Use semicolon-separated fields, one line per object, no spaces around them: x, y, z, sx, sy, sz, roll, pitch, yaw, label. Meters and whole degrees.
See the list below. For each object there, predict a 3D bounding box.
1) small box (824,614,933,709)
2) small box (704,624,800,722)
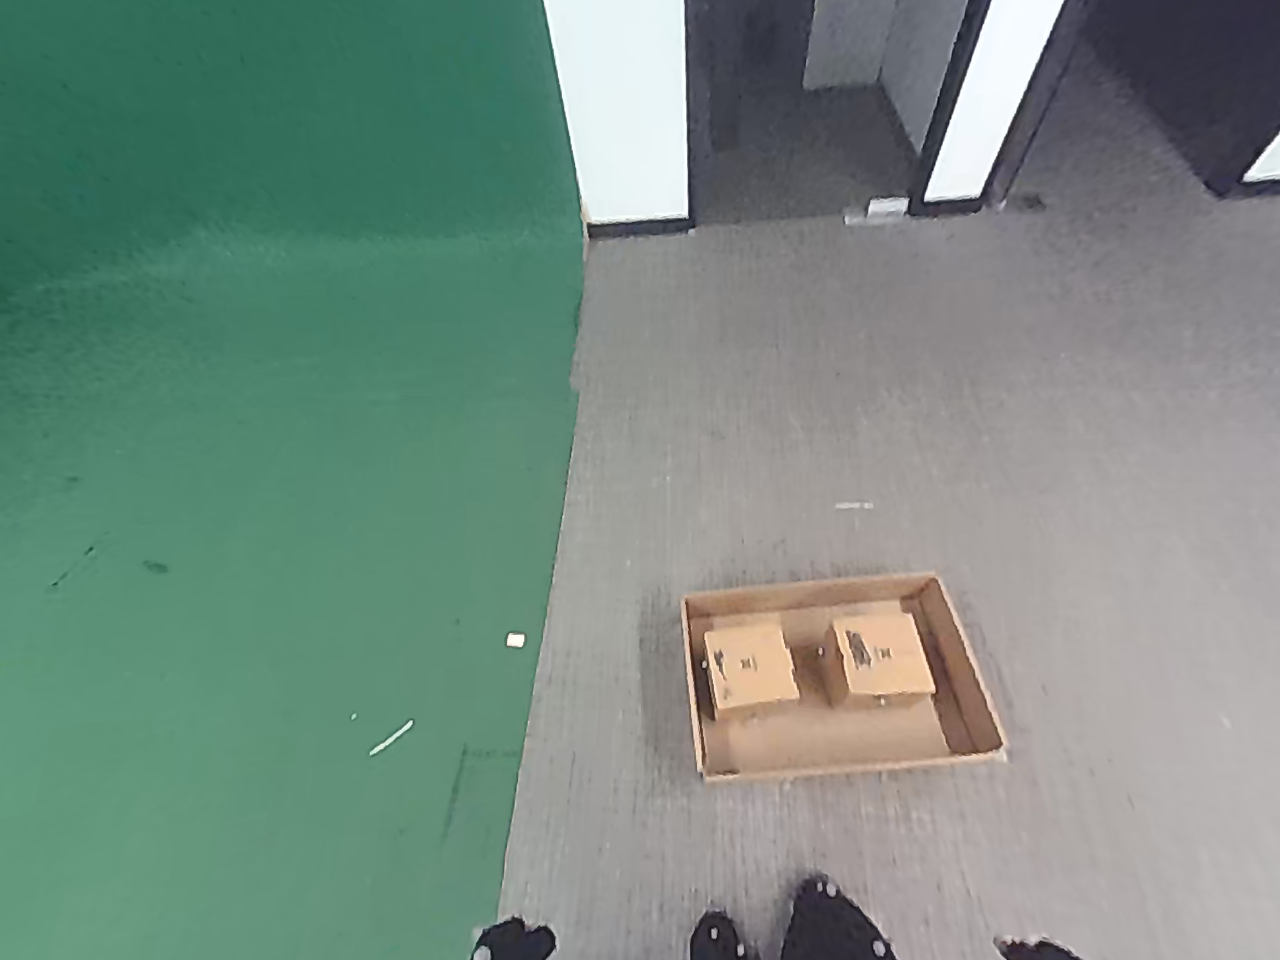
0.526;0.415;1.225;0.179;0.176;0.168;-5;56;4;small box
0.247;0.445;1.238;0.179;0.176;0.168;-7;55;0;small box
